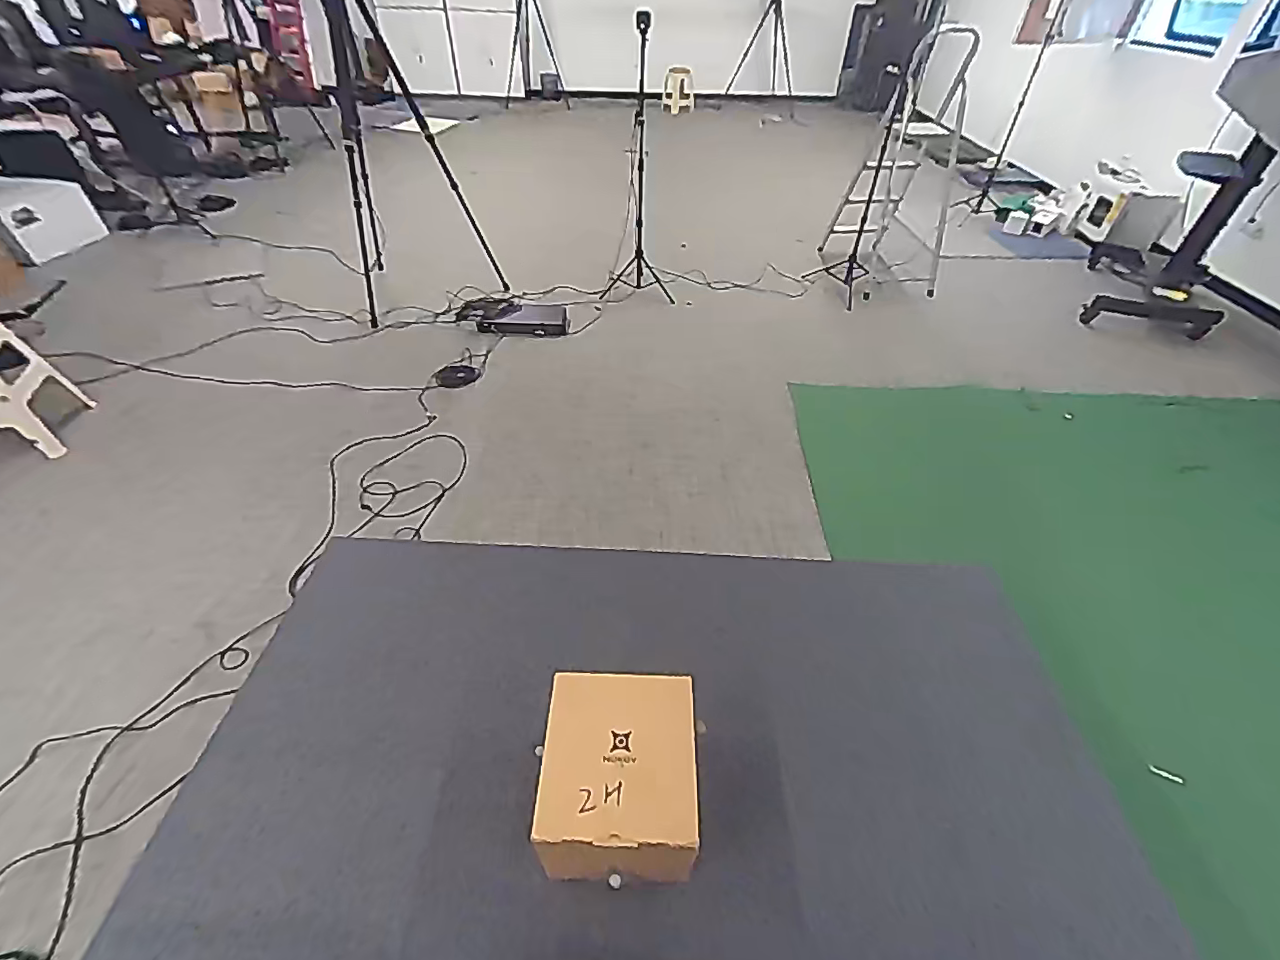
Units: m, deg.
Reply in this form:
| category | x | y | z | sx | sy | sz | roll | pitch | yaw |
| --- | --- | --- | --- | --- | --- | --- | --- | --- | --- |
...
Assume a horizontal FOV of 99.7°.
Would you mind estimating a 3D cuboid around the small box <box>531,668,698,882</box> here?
| category | x | y | z | sx | sy | sz | roll | pitch | yaw |
| --- | --- | --- | --- | --- | --- | --- | --- | --- | --- |
| small box | -0.024 | 0.345 | 0.635 | 0.168 | 0.176 | 0.179 | 1 | 43 | 1 |
